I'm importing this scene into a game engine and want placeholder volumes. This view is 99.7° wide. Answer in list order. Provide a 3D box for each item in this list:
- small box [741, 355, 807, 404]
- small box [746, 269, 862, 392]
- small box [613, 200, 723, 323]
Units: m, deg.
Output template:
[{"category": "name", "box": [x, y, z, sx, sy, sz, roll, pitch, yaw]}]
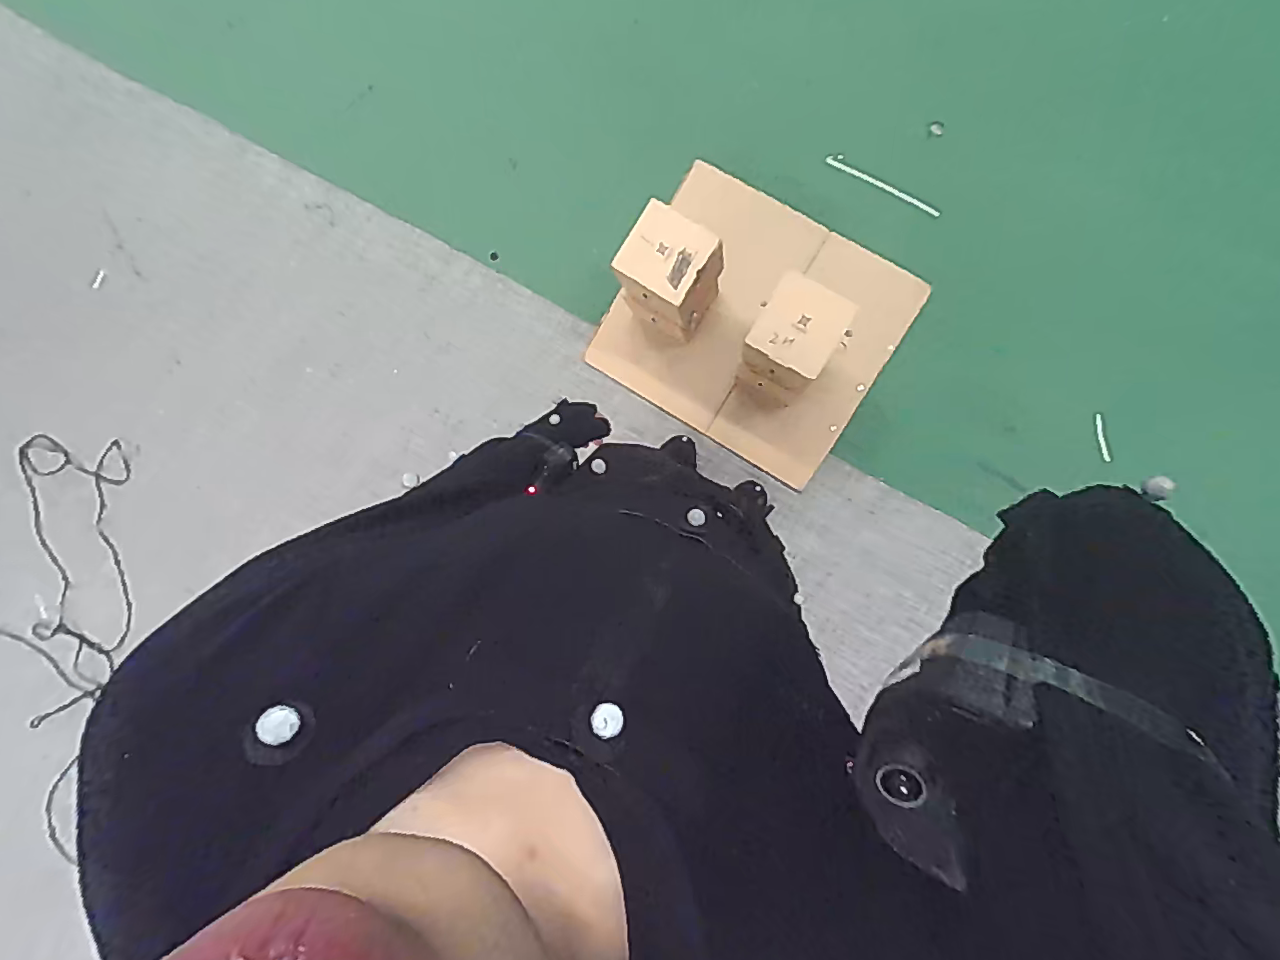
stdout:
[{"category": "small box", "box": [0.357, -0.305, 1.324, 0.168, 0.176, 0.179, 30, 96, 7]}, {"category": "small box", "box": [0.338, -0.311, 1.159, 0.168, 0.176, 0.179, 33, 96, 7]}, {"category": "small box", "box": [0.070, -0.468, 1.193, 0.179, 0.176, 0.168, 35, 96, 8]}]
